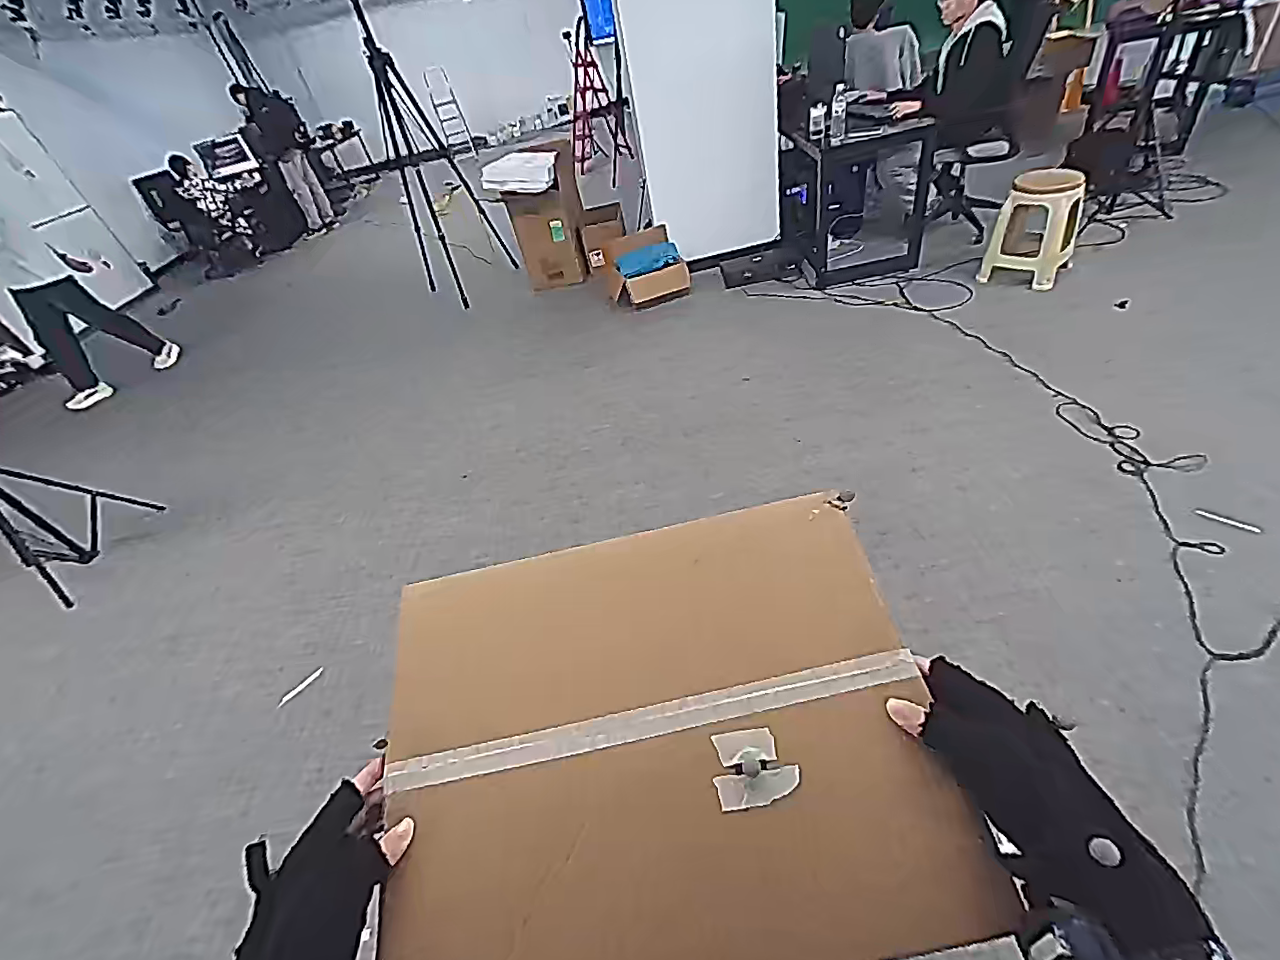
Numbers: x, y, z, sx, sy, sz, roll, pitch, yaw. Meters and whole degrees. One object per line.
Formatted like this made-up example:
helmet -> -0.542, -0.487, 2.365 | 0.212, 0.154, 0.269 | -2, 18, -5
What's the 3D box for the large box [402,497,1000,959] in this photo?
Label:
large box -> 0.030, 0.265, 0.549 | 0.408, 0.320, 0.320 | -13, 58, 1
